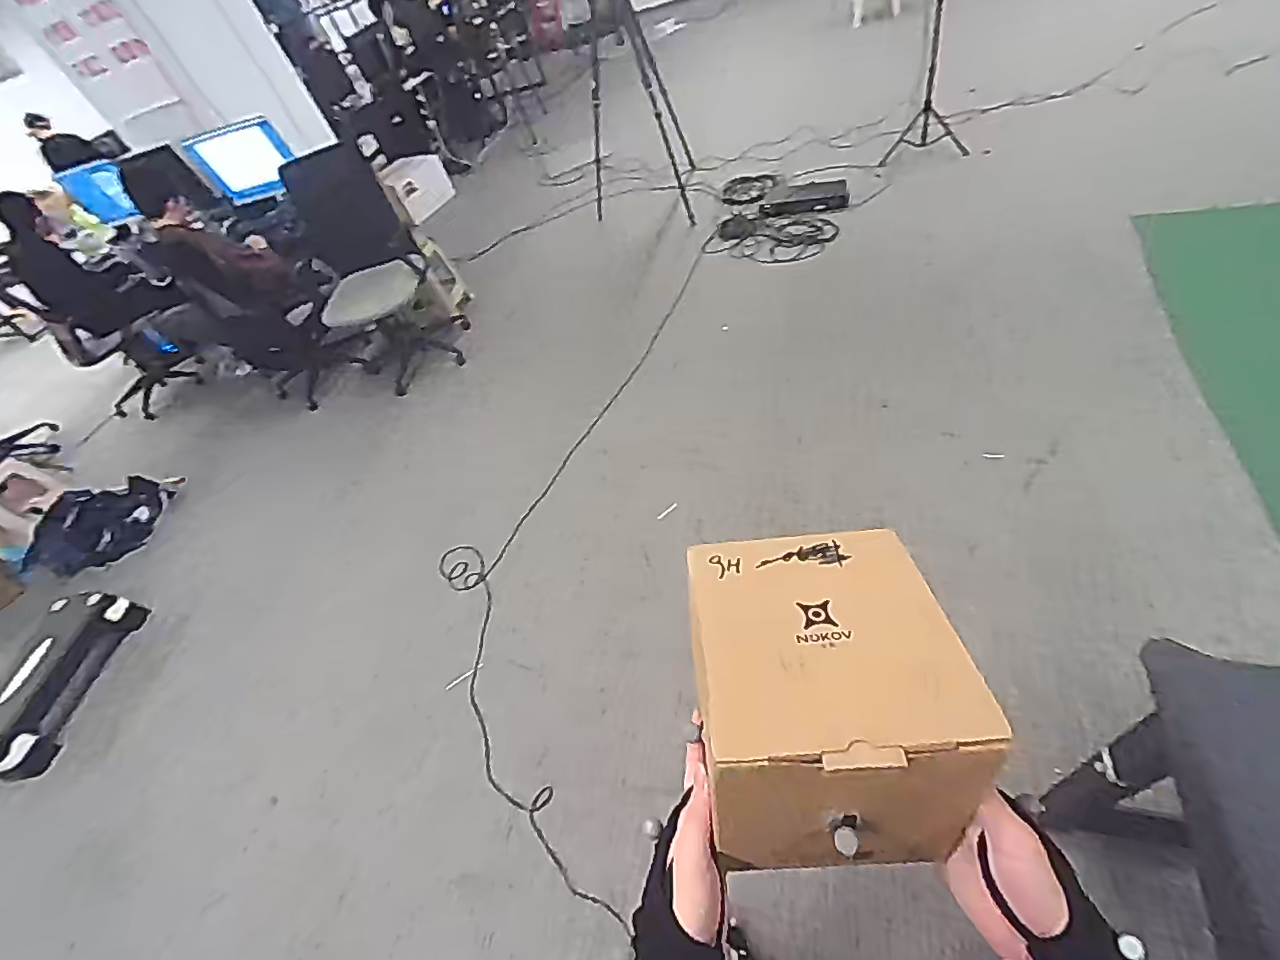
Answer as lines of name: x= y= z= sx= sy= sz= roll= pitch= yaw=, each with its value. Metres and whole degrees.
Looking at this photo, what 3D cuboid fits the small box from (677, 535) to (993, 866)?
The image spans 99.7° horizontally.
small box: x=0.120 y=0.167 z=0.406 sx=0.168 sy=0.176 sz=0.179 roll=-5 pitch=38 yaw=4
